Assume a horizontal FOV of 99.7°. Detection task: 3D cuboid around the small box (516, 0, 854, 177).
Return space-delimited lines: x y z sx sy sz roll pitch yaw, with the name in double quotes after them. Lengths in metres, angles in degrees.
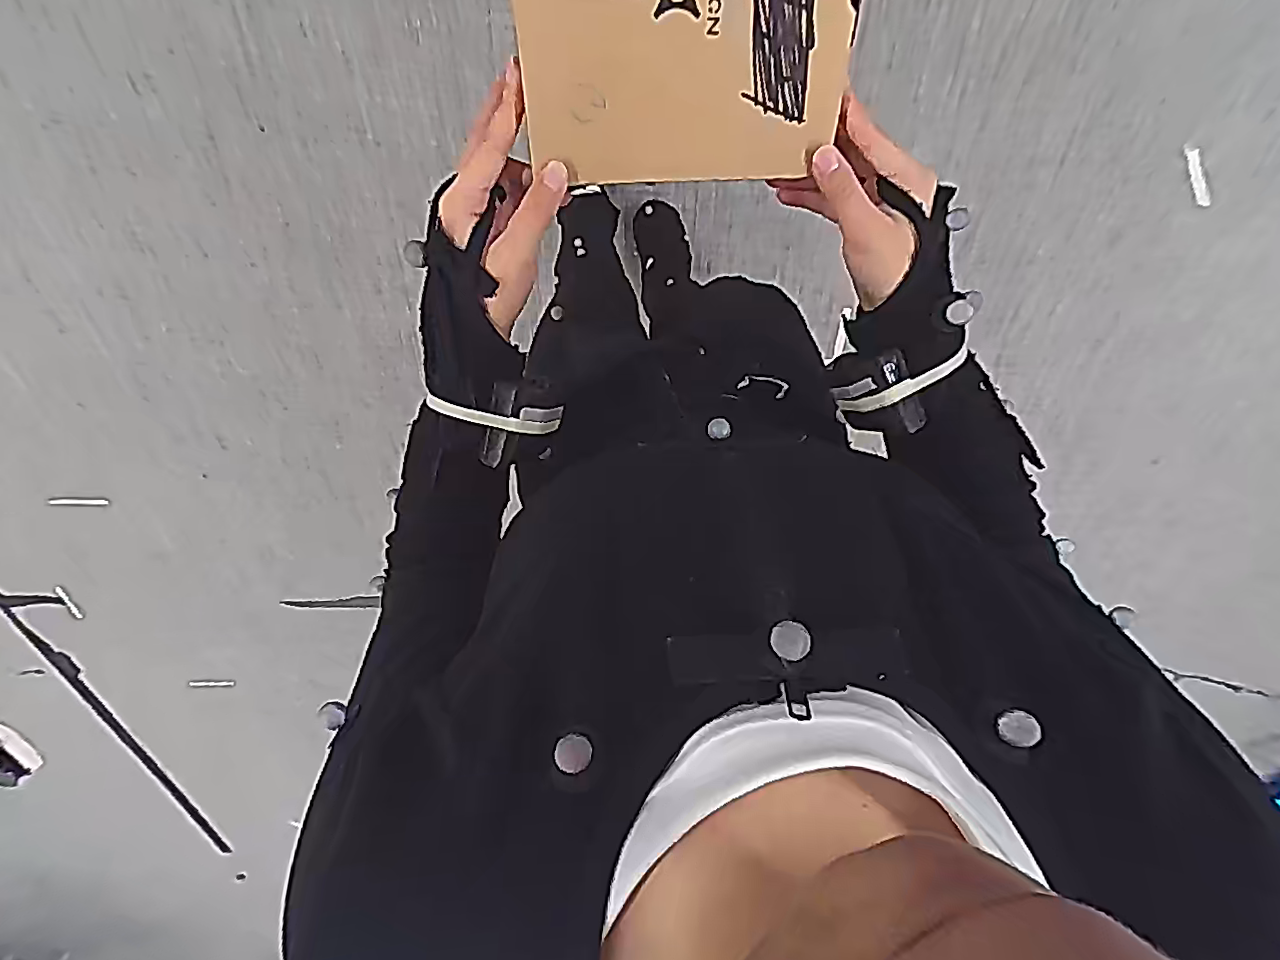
0.014 -0.294 0.328 0.179 0.176 0.168 -5 130 -6 "small box"
